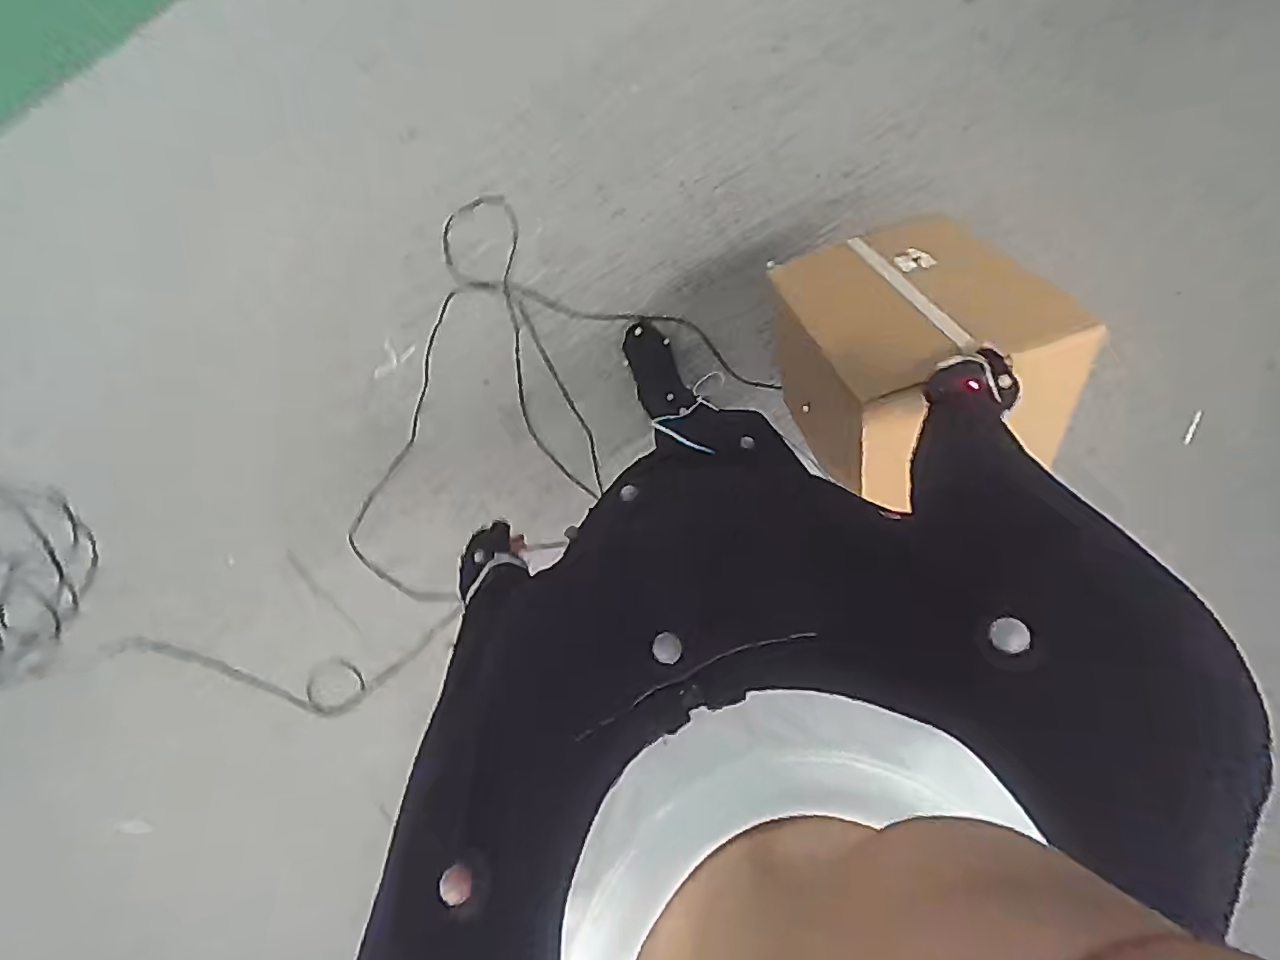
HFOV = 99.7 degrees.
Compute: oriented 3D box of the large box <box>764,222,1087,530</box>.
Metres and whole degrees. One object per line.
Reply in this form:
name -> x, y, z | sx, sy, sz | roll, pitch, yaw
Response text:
large box -> 0.449, -0.187, 0.949 | 0.320, 0.408, 0.320 | -18, 134, 5
